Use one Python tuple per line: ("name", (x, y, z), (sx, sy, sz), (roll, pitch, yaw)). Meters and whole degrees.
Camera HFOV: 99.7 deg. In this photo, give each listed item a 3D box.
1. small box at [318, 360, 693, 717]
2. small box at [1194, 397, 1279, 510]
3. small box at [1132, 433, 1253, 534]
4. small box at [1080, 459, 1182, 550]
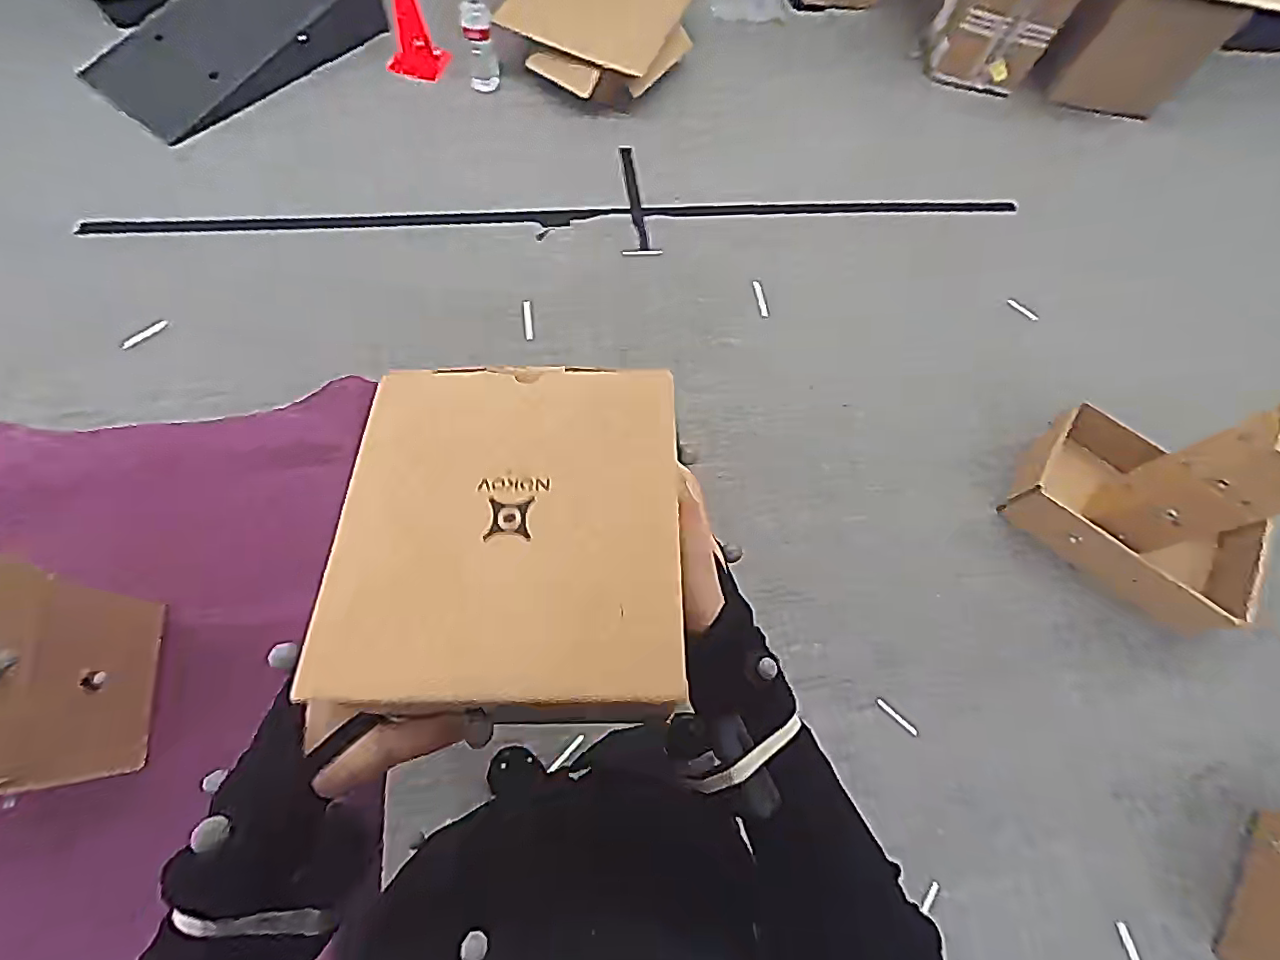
("small box", (-0.056, 0.047, 0.339), (0.168, 0.176, 0.179), (0, 59, 0))
("small box", (1.495, -0.056, 1.292), (0.168, 0.176, 0.179), (37, 66, 9))
("small box", (1.474, 0.013, 1.440), (0.168, 0.176, 0.179), (38, 68, 10))
("small box", (1.453, 0.077, 1.587), (0.168, 0.176, 0.179), (40, 68, 10))
